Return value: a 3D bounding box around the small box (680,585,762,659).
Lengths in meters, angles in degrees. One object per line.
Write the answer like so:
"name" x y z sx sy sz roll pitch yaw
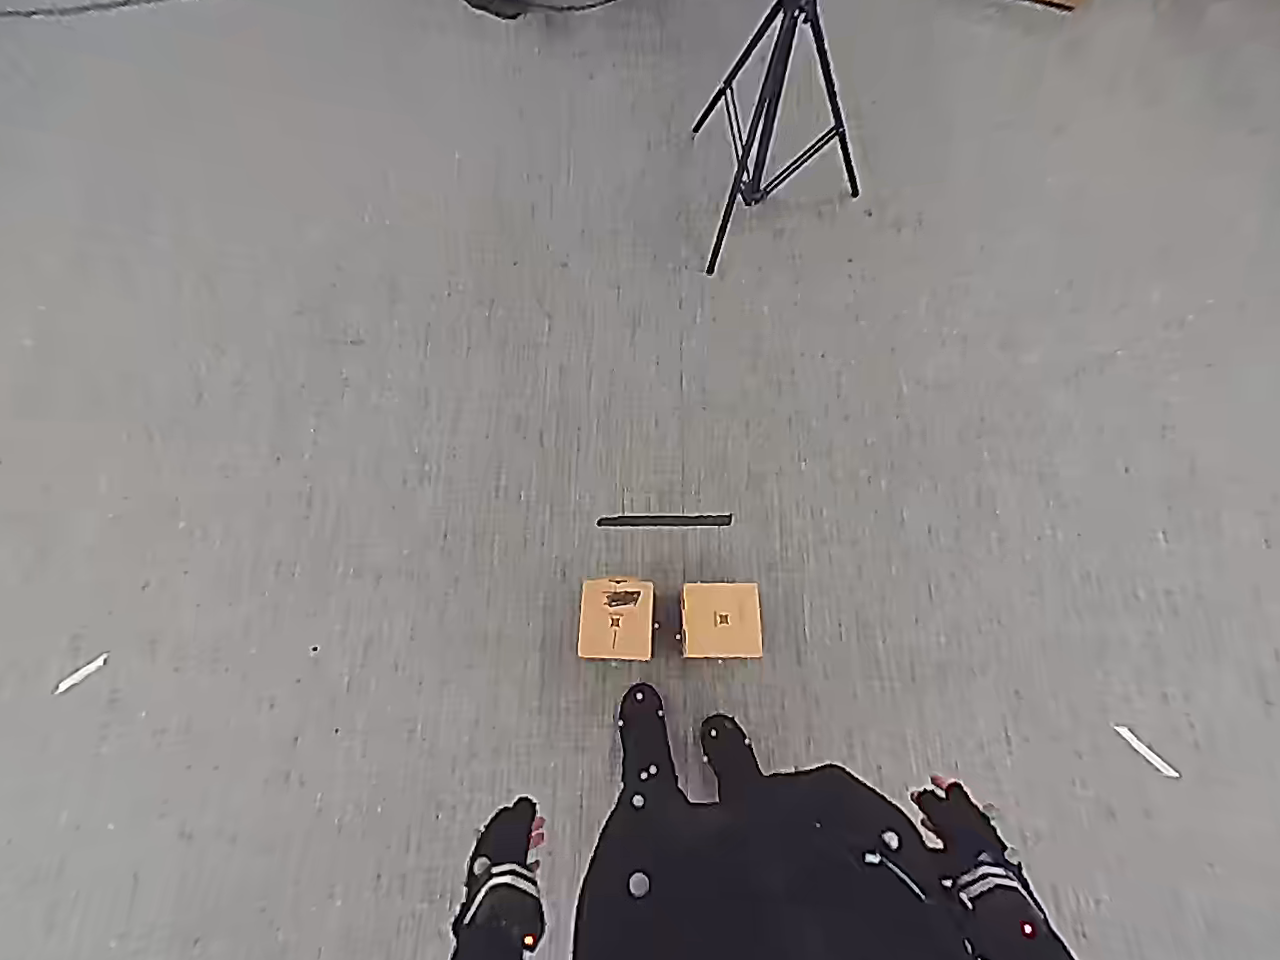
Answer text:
"small box" 0.187 0.345 1.305 0.179 0.176 0.168 -1 73 0

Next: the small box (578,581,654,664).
"small box" -0.052 0.348 1.308 0.168 0.176 0.179 2 73 3
